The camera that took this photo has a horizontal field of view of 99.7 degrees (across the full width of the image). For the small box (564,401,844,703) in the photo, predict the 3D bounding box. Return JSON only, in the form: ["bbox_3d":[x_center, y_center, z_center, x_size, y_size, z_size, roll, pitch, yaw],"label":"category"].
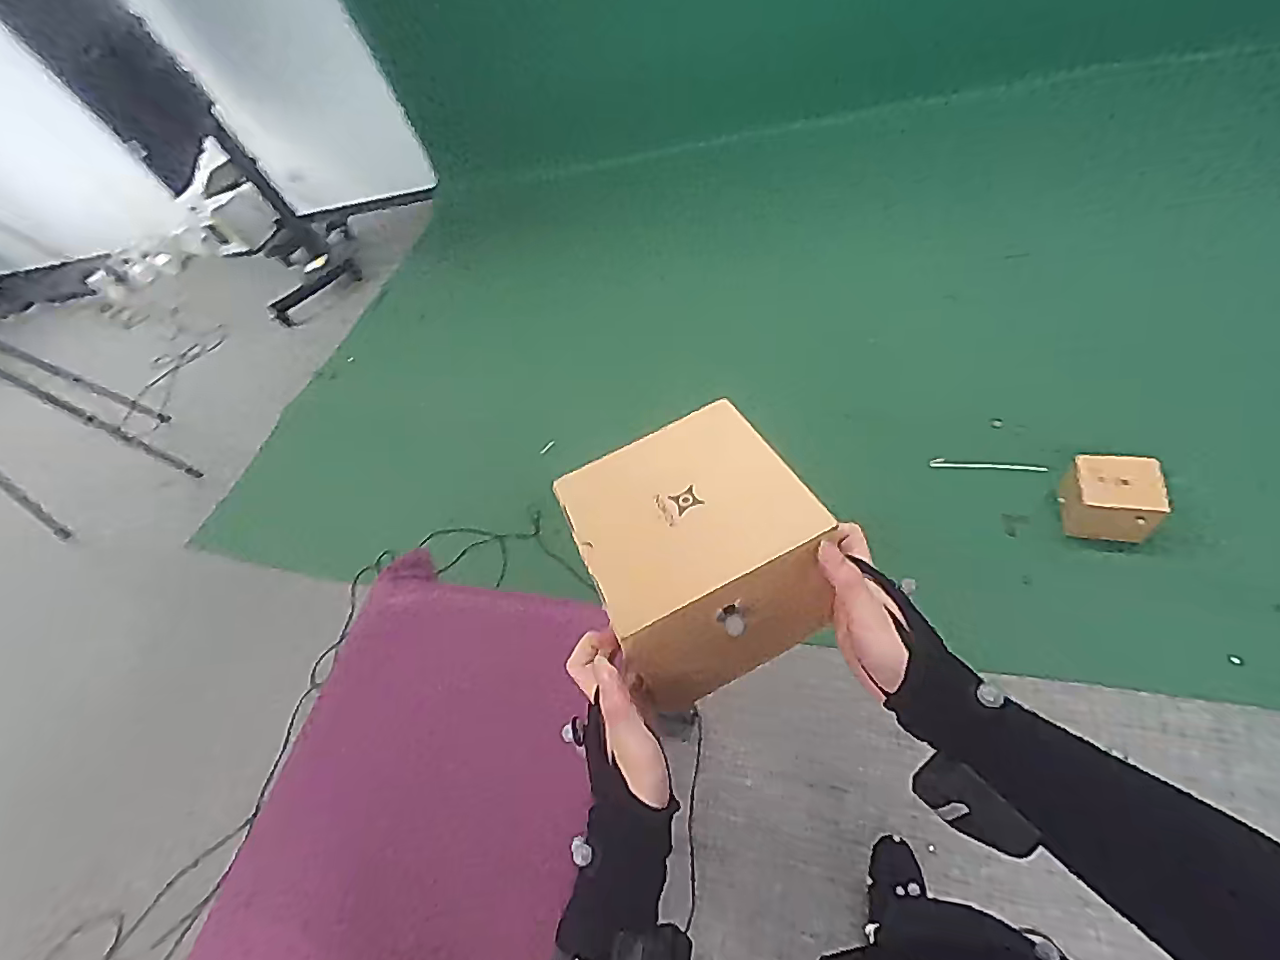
[{"bbox_3d":[0.058,0.068,0.487,0.179,0.176,0.168,-27,48,-4],"label":"small box"}]

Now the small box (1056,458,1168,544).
[{"bbox_3d":[1.272,0.060,1.471,0.179,0.176,0.168,5,57,22],"label":"small box"}]
